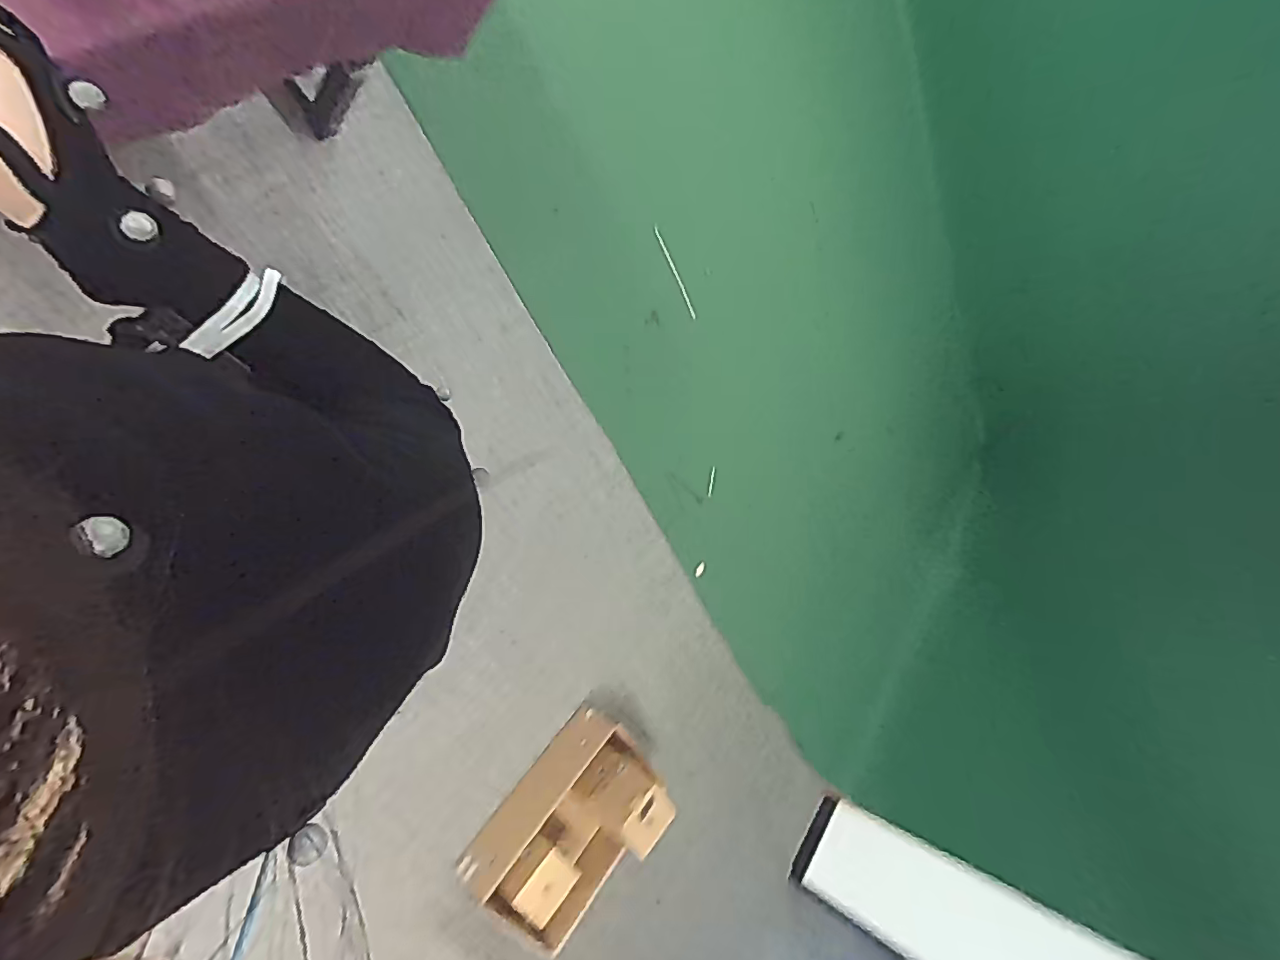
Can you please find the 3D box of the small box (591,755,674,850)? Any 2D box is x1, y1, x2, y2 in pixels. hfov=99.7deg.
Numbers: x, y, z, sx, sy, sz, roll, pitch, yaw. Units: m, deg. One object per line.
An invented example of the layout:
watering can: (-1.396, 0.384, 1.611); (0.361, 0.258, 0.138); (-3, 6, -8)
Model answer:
small box: (-0.026, 1.011, 1.717); (0.168, 0.176, 0.179); (-40, 119, -30)
